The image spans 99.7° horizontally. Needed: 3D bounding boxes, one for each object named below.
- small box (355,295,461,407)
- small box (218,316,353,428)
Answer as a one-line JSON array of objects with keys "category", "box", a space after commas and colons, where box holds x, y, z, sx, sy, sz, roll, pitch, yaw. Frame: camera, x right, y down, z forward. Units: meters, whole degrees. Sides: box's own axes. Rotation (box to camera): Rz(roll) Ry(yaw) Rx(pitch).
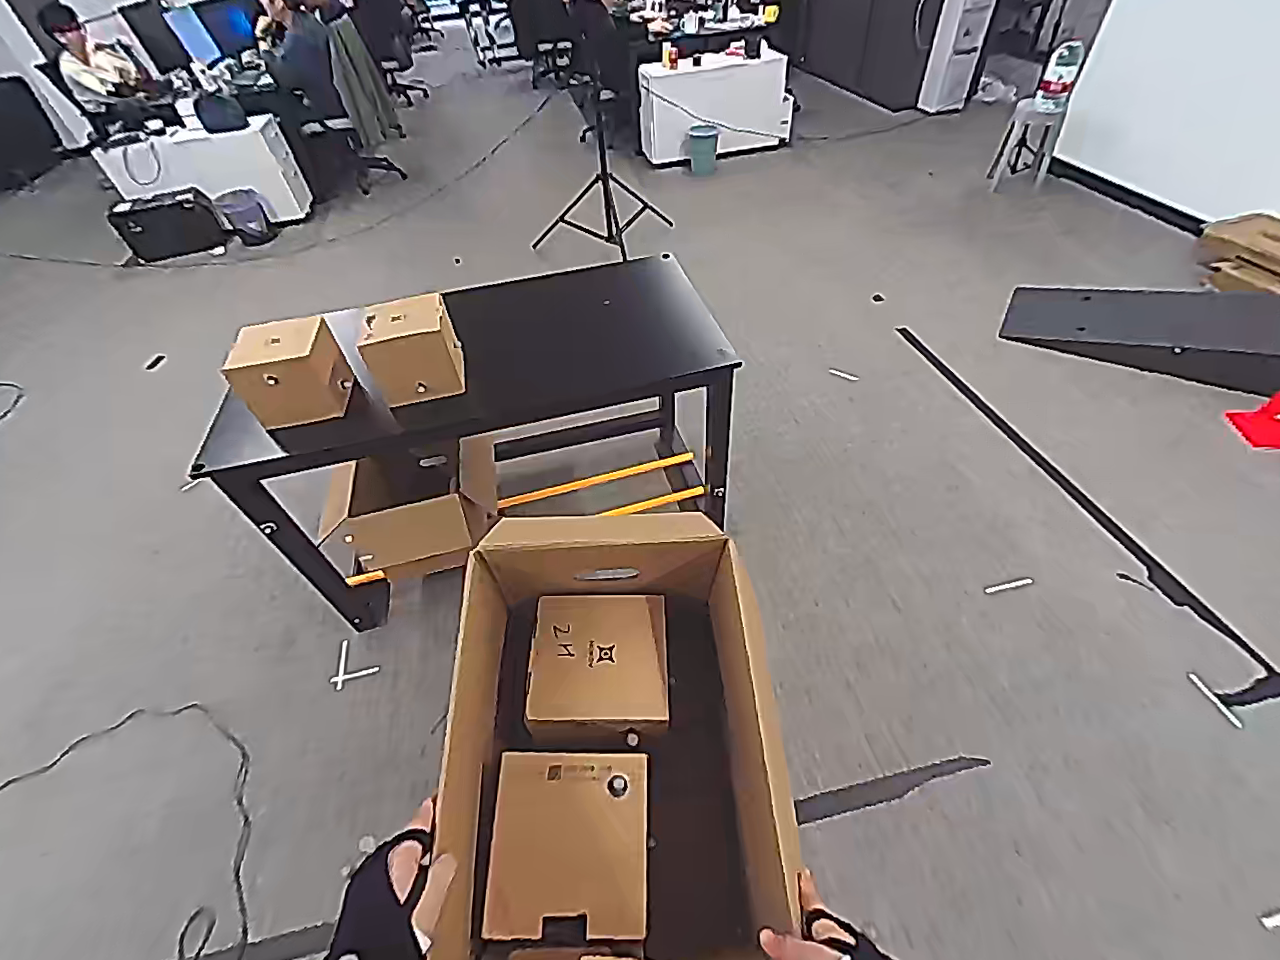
[{"category": "small box", "box": [-0.511, -0.289, 1.220, 0.179, 0.176, 0.168, -13, 47, -8]}, {"category": "small box", "box": [-0.767, -0.234, 1.193, 0.179, 0.176, 0.168, -11, 49, -7]}]
